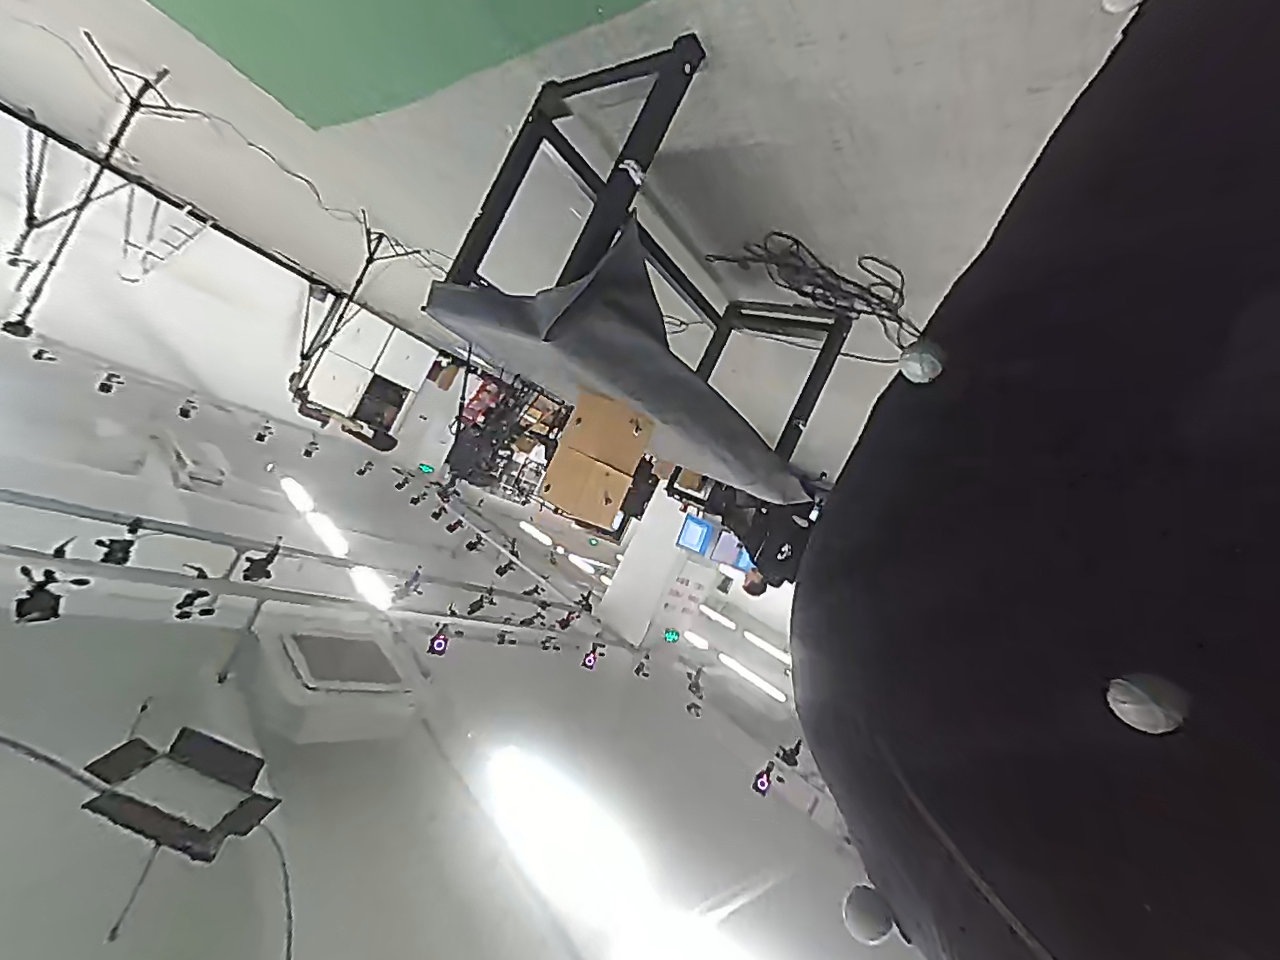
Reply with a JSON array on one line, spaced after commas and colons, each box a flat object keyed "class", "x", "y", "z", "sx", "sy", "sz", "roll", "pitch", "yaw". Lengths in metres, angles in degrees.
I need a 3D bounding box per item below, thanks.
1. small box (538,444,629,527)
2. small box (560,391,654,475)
[{"class": "small box", "x": -0.152, "y": 0.012, "z": 1.546, "sx": 0.179, "sy": 0.176, "sz": 0.168, "roll": 26, "pitch": 180, "yaw": 42}, {"class": "small box", "x": -0.091, "y": -0.139, "z": 1.551, "sx": 0.179, "sy": 0.176, "sz": 0.168, "roll": 23, "pitch": 179, "yaw": 41}]
